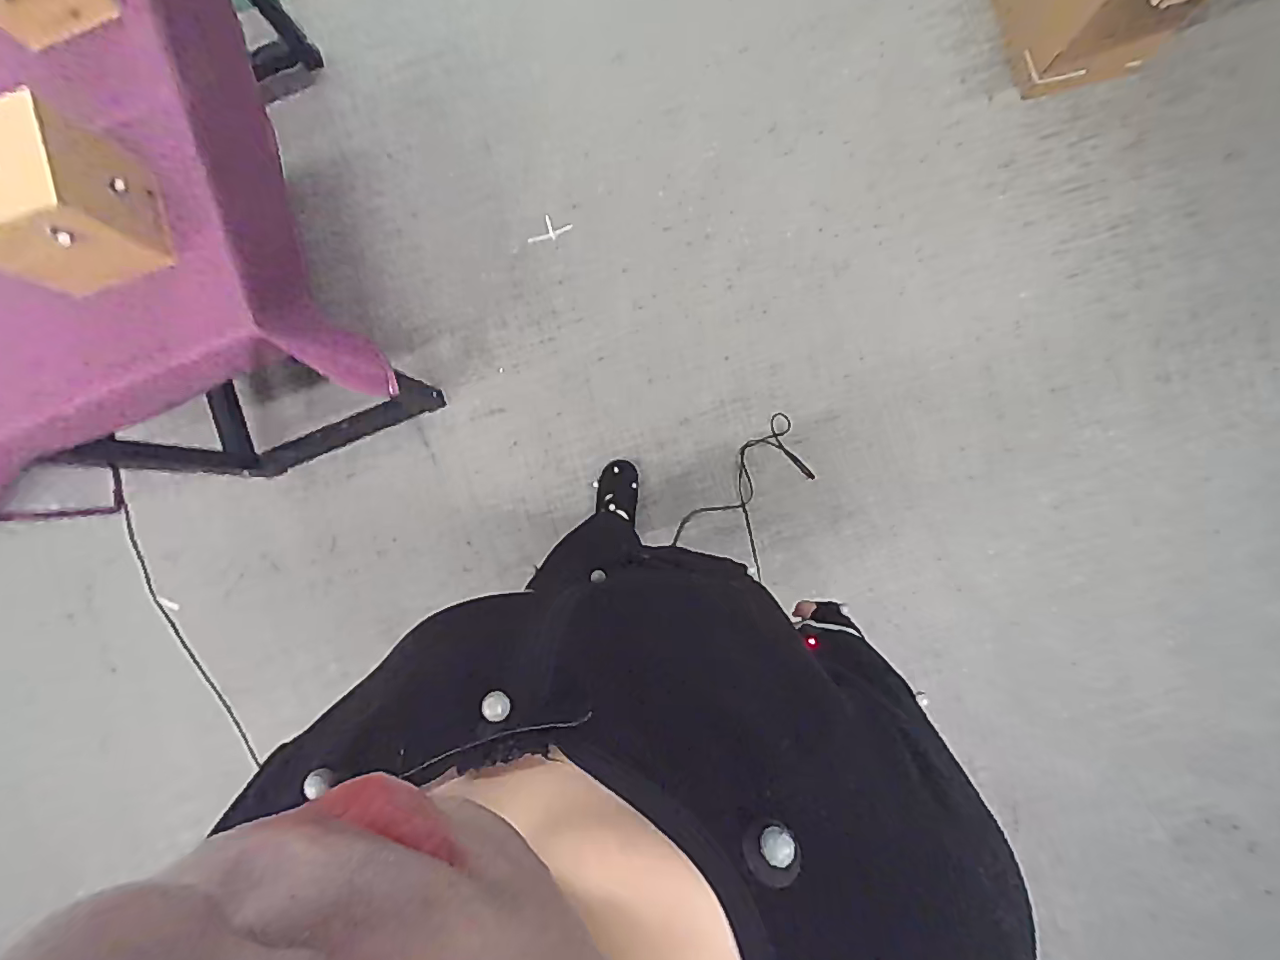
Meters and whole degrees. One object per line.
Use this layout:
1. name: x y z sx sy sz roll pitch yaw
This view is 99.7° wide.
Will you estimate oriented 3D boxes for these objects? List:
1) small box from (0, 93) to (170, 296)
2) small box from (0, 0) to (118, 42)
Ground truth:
1. small box: -0.824 -0.391 0.771 0.179 0.176 0.168 -18 86 4
2. small box: -0.937 -0.802 0.799 0.168 0.176 0.179 -20 86 4
